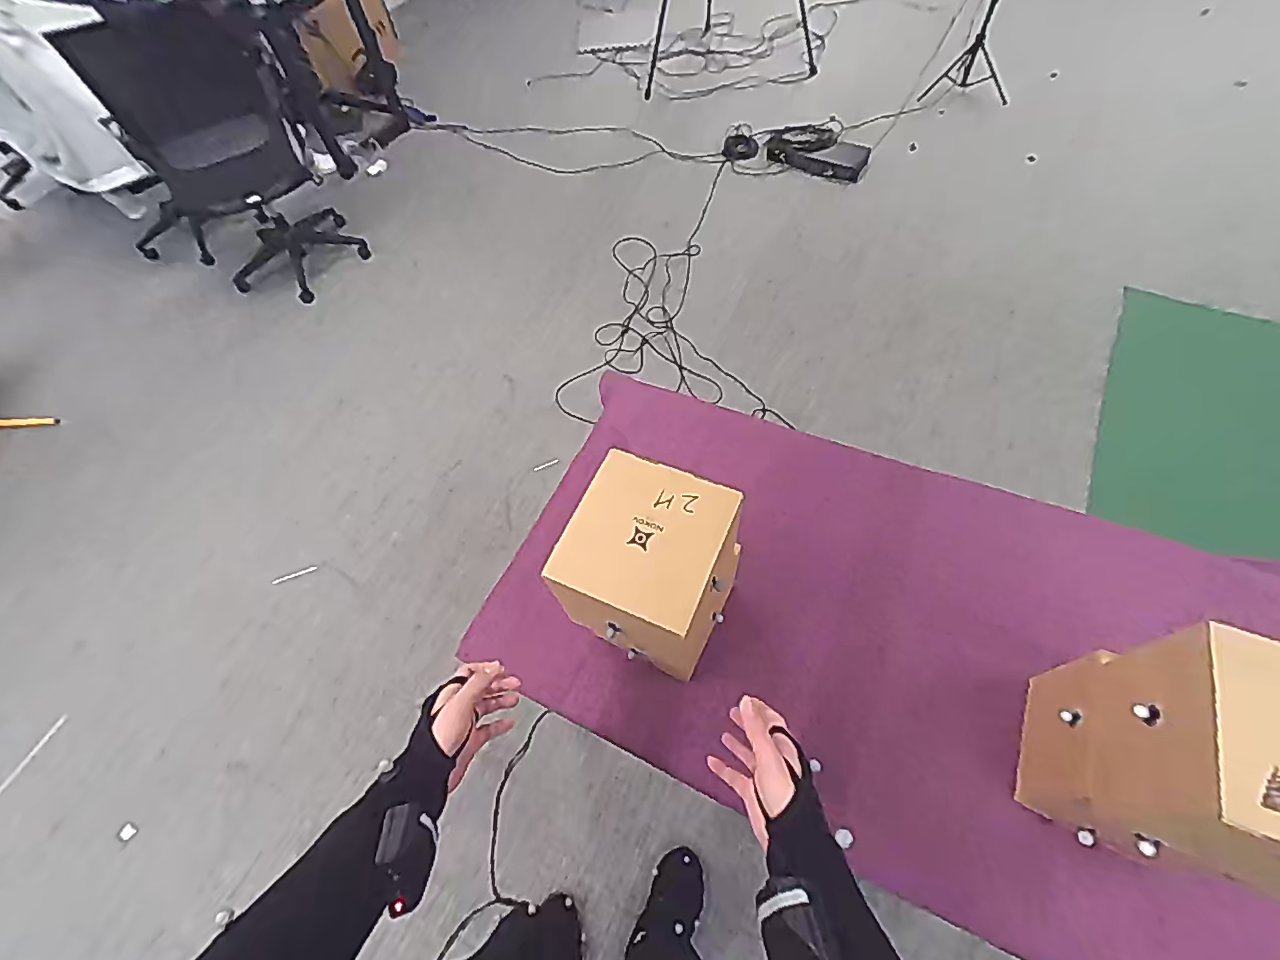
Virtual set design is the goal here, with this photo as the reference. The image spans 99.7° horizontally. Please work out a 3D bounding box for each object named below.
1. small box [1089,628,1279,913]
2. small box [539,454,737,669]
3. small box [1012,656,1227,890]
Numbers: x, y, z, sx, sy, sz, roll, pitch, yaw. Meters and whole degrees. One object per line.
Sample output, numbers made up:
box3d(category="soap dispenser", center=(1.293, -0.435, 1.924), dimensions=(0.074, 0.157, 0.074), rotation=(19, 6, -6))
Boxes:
box3d(category="small box", center=(0.557, 0.272, 0.499), dimensions=(0.168, 0.176, 0.179), rotation=(20, 60, 18))
box3d(category="small box", center=(0.008, 0.104, 0.651), dimensions=(0.168, 0.176, 0.179), rotation=(20, 63, 16))
box3d(category="small box", center=(0.580, 0.345, 0.645), dimensions=(0.168, 0.176, 0.179), rotation=(22, 63, 19))
